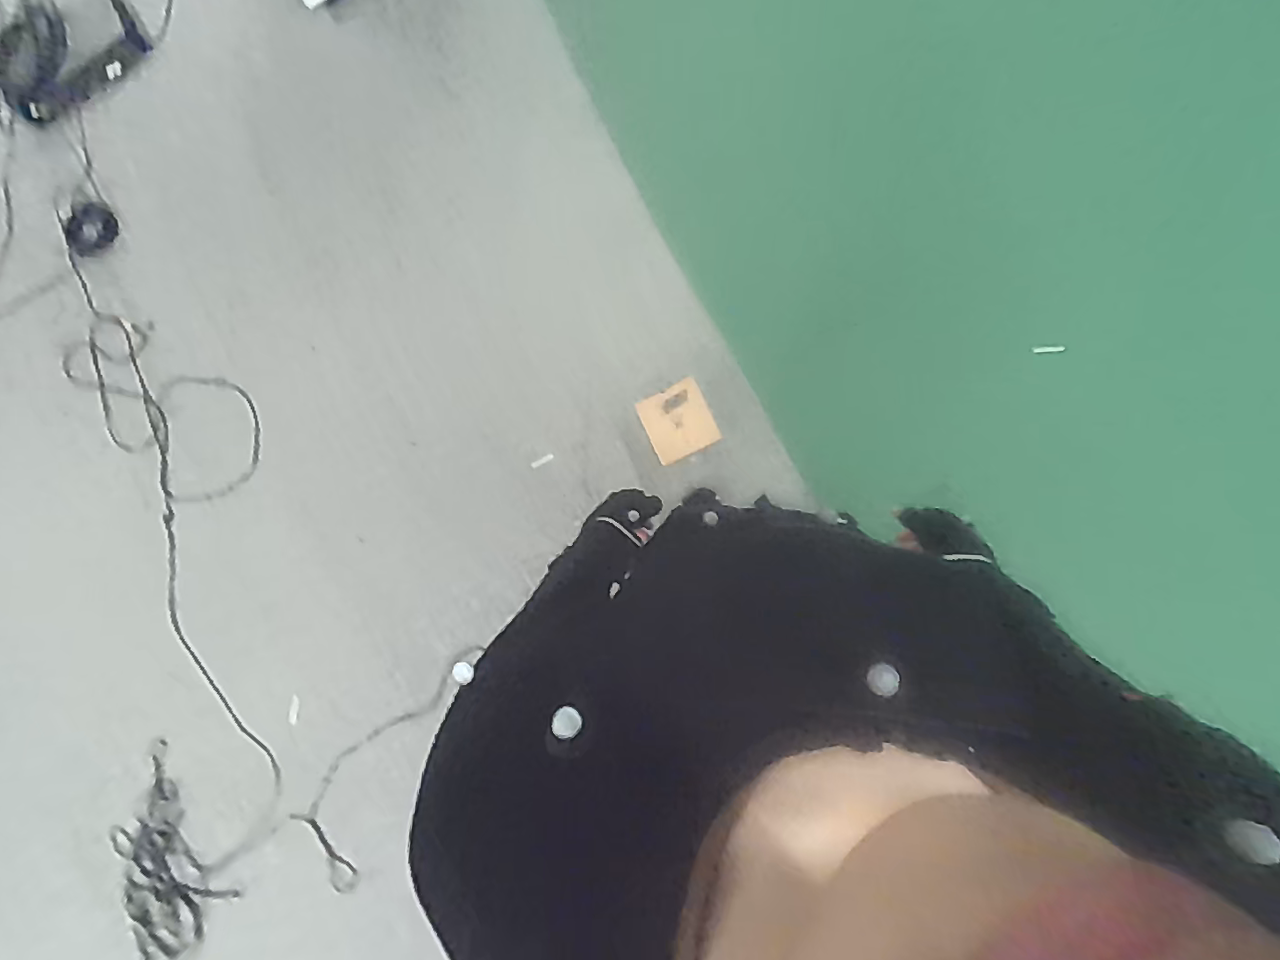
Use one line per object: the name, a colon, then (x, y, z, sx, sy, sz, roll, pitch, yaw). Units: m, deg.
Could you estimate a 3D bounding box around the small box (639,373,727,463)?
small box: (0.114, -0.153, 1.409, 0.168, 0.176, 0.179, -26, 87, 7)
